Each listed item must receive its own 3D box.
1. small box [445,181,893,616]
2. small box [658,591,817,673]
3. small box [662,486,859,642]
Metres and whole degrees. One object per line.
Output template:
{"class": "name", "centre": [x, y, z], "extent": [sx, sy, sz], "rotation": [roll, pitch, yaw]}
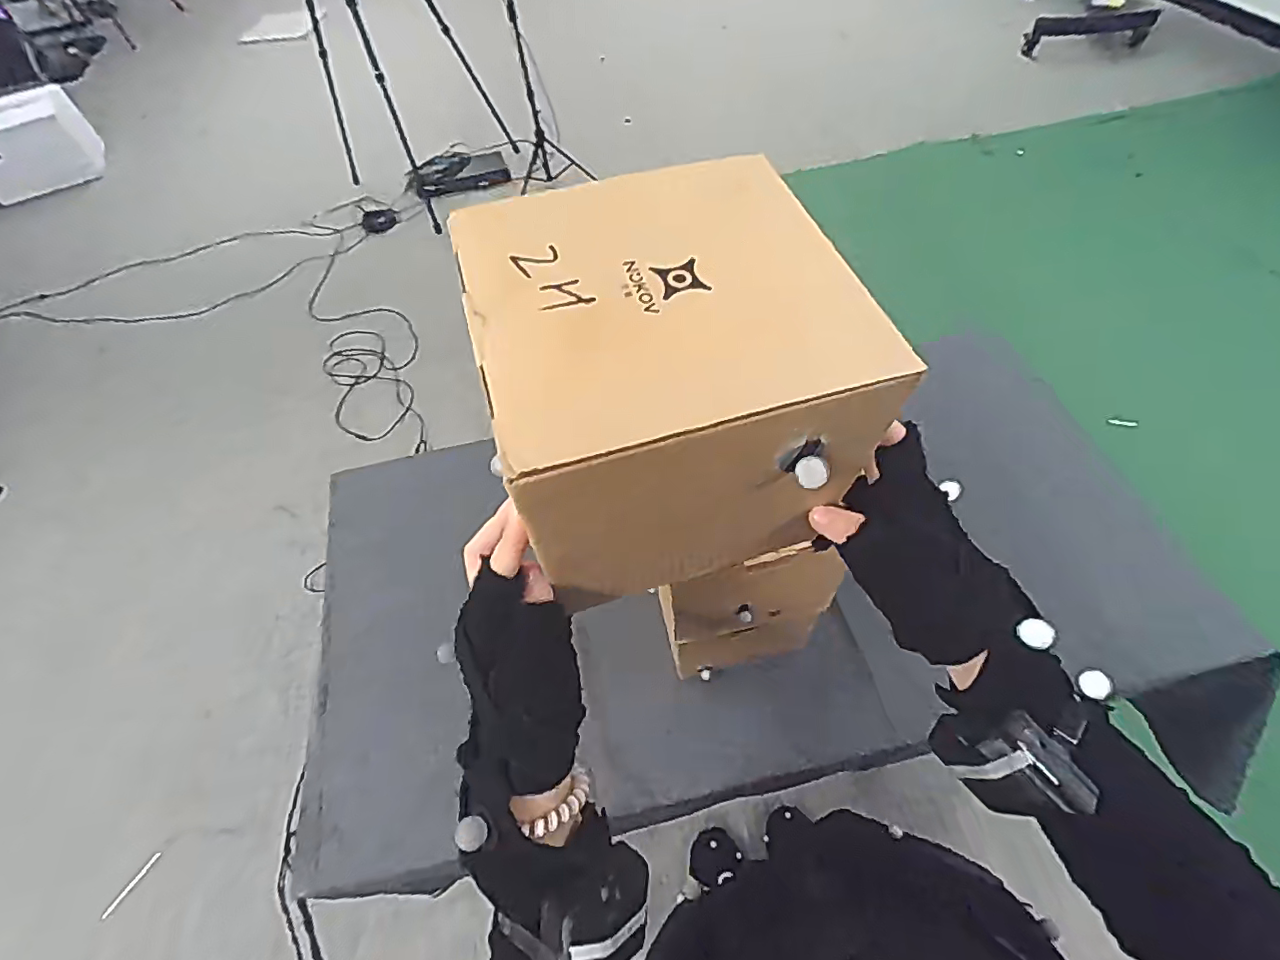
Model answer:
{"class": "small box", "centre": [0.004, -0.039, 0.323], "extent": [0.179, 0.176, 0.168], "rotation": [-15, 60, -8]}
{"class": "small box", "centre": [0.106, 0.134, 0.692], "extent": [0.168, 0.176, 0.179], "rotation": [-13, 55, -3]}
{"class": "small box", "centre": [0.093, 0.044, 0.558], "extent": [0.168, 0.176, 0.179], "rotation": [-13, 56, -3]}
